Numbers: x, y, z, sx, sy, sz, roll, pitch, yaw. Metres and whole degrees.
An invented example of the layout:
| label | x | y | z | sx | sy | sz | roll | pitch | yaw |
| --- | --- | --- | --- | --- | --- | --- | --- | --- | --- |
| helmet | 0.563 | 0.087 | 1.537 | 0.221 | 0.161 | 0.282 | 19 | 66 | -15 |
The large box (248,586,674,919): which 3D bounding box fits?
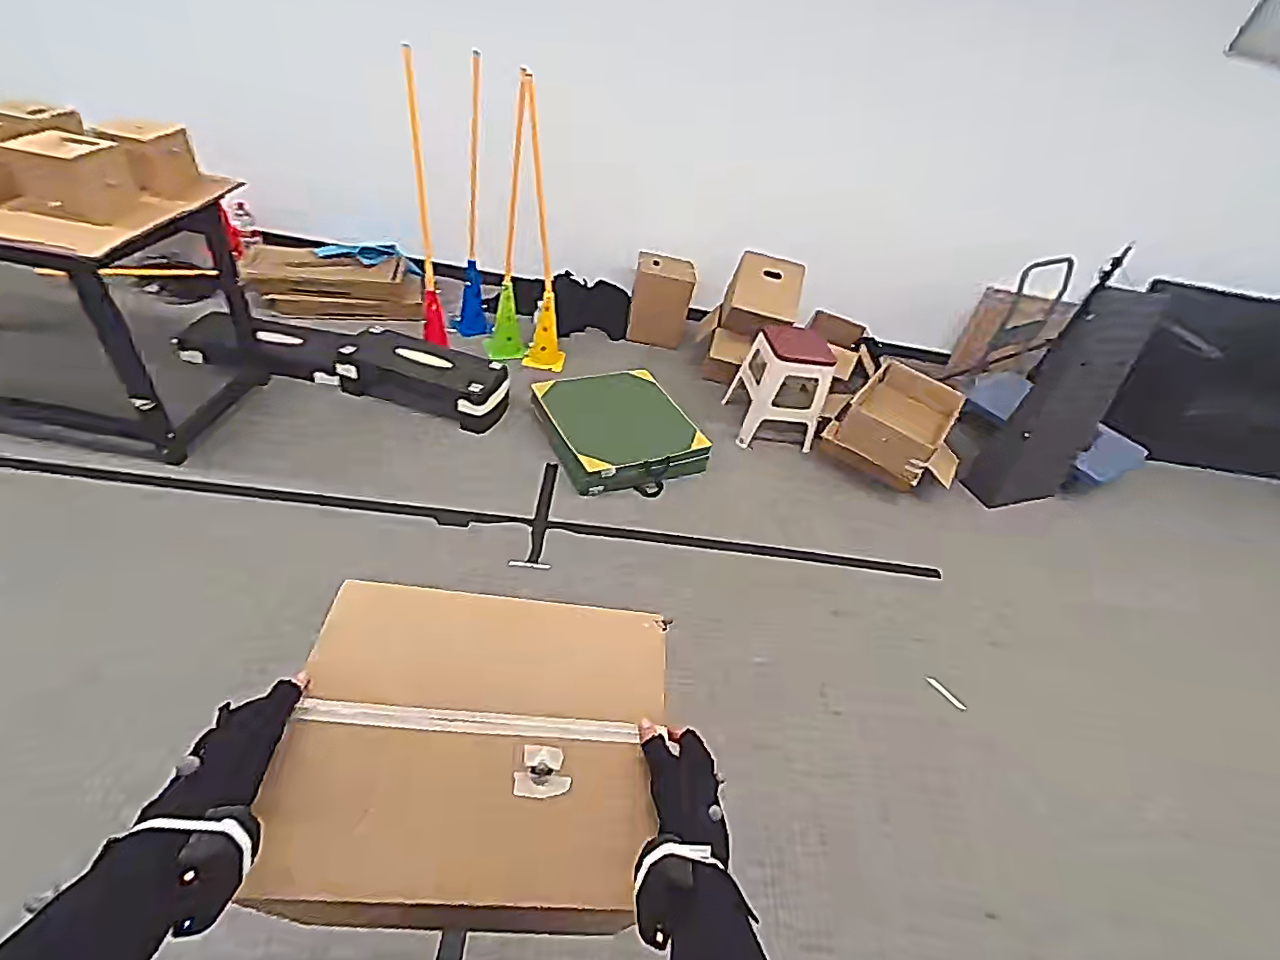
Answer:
| label | x | y | z | sx | sy | sz | roll | pitch | yaw |
| --- | --- | --- | --- | --- | --- | --- | --- | --- | --- |
| large box | -0.193 | 0.372 | 0.719 | 0.408 | 0.320 | 0.320 | 9 | 47 | -9 |
